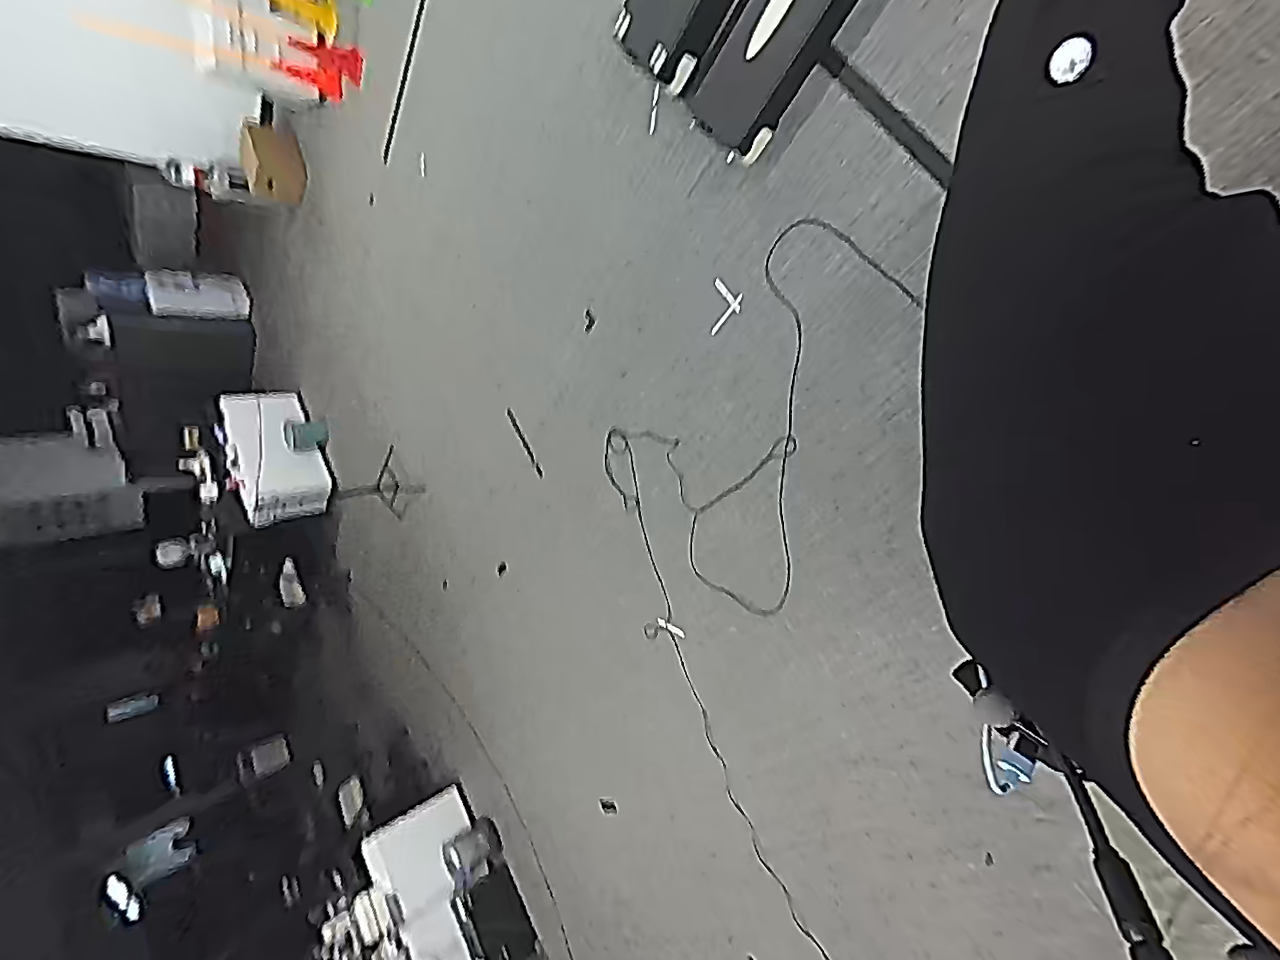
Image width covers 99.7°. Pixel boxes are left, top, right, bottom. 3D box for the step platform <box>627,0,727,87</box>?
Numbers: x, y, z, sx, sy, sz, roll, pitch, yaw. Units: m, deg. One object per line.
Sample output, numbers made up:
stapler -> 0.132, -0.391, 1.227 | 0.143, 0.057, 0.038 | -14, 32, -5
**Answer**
step platform -> 0.243, -1.495, 1.455 | 0.286, 0.204, 0.684 | 57, 130, 20
